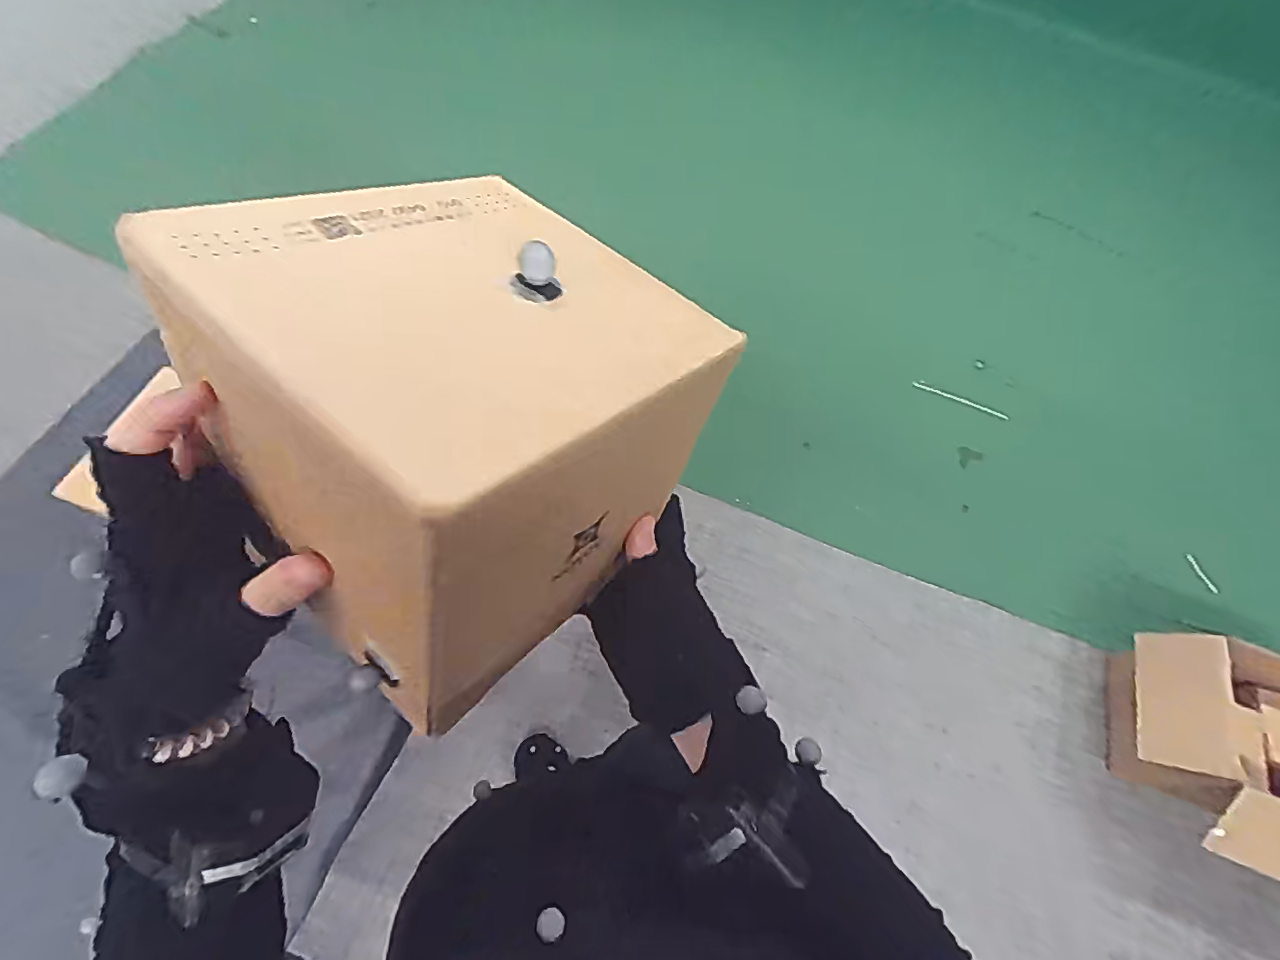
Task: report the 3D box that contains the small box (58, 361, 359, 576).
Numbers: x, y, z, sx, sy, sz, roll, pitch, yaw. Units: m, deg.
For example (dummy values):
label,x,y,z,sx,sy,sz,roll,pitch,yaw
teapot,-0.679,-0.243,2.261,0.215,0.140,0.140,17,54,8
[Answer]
label,x,y,z,sx,sy,sz,roll,pitch,yaw
small box,-0.475,-0.003,0.631,0.179,0.176,0.168,20,66,4
